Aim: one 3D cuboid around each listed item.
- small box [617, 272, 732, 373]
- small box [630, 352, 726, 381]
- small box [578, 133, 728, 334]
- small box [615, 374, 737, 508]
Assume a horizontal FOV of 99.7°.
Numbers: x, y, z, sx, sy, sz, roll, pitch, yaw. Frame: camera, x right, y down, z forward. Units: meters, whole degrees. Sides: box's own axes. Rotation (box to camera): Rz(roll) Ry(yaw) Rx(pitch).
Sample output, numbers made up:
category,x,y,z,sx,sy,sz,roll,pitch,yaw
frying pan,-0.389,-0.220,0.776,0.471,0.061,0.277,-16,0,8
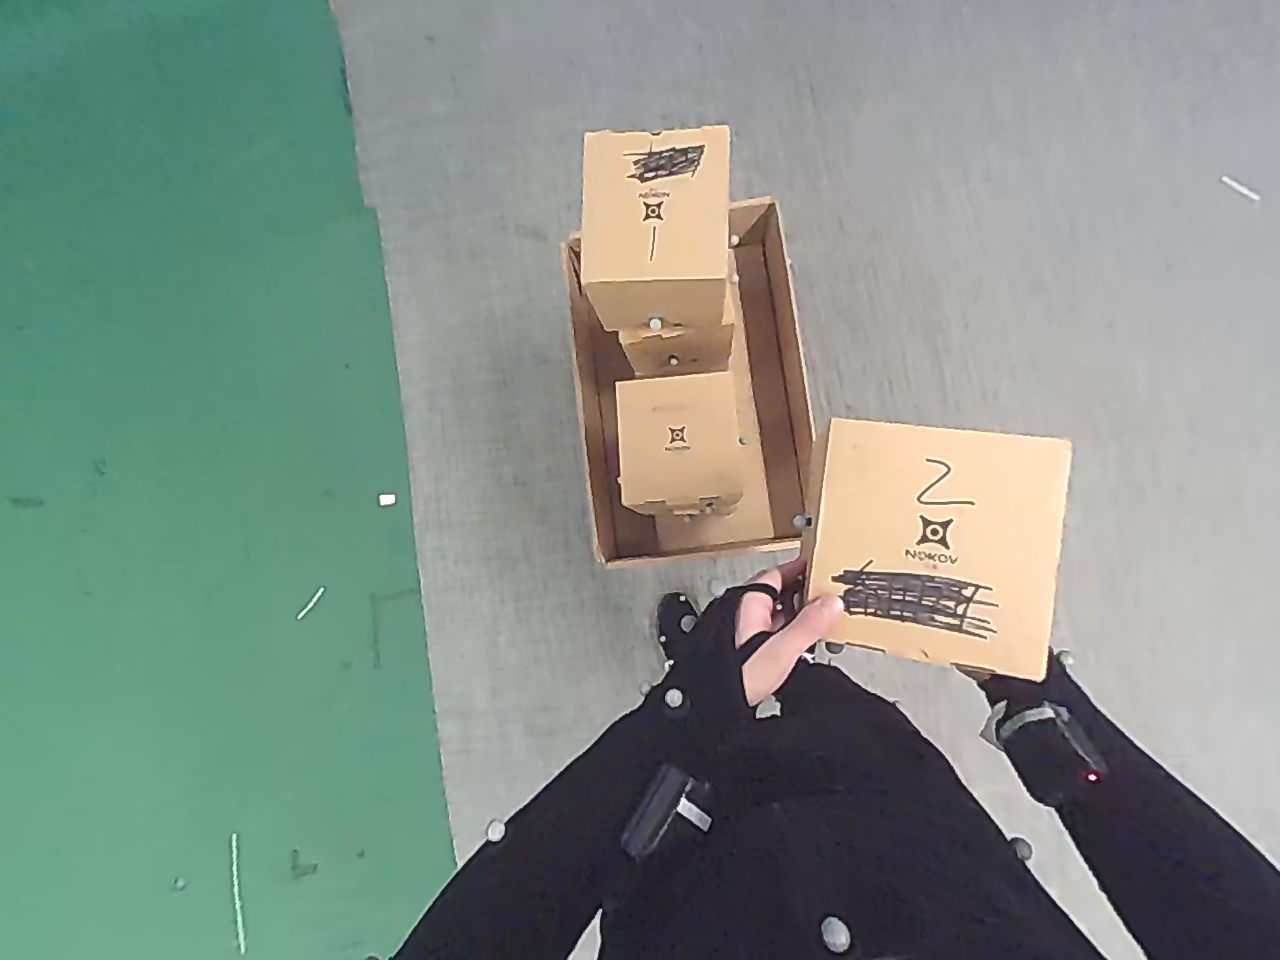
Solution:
category,x,y,z,sx,sy,sz,roll,pitch,yaw
small box,0.045,-0.284,0.846,0.168,0.176,0.179,-8,86,5
small box,0.063,-0.275,1.007,0.168,0.176,0.179,-8,85,6
small box,0.022,-0.298,0.684,0.168,0.176,0.179,1,87,6
small box,0.057,-0.048,0.820,0.168,0.176,0.179,-3,83,6
